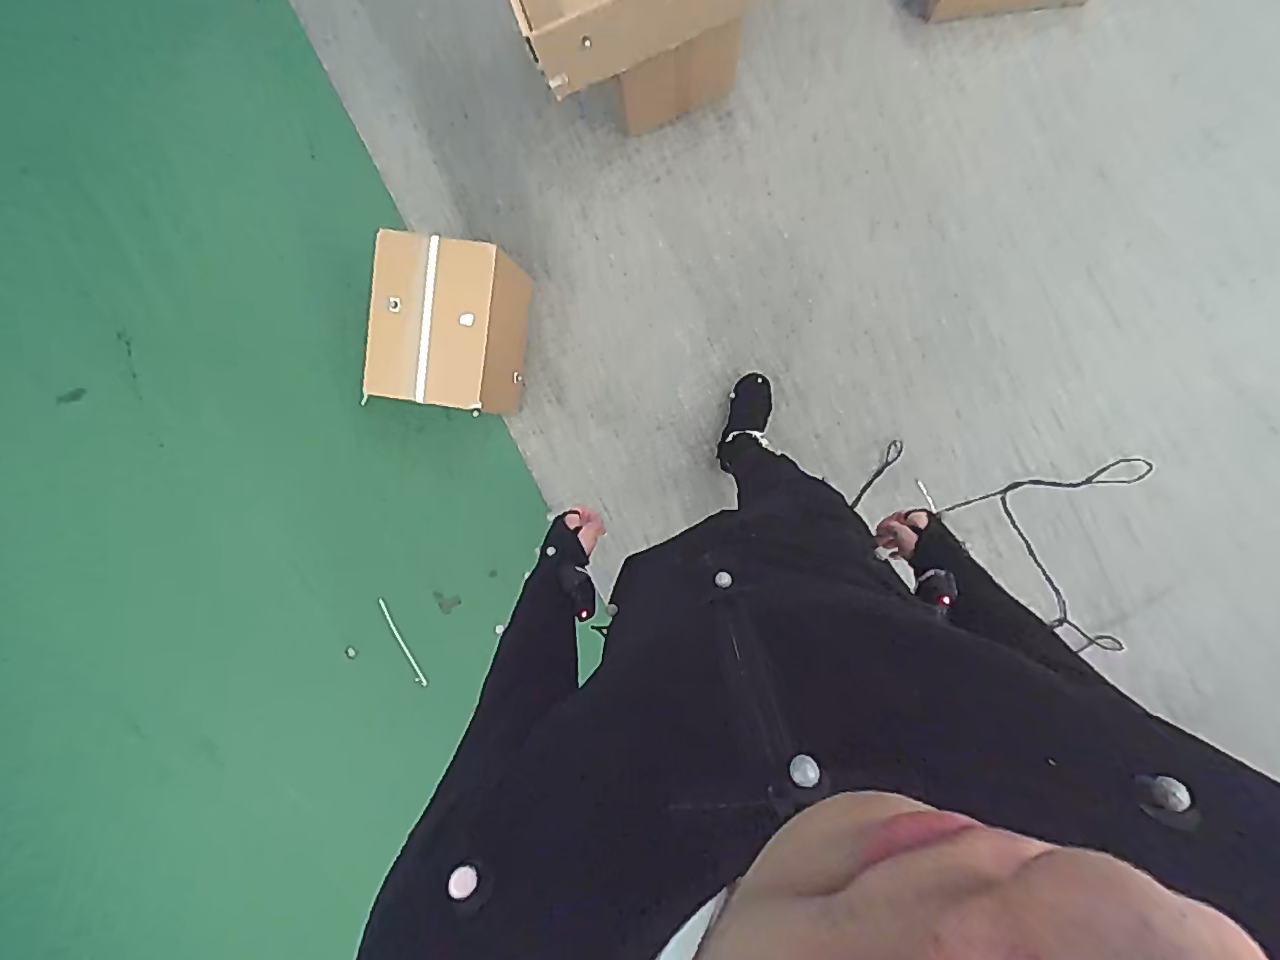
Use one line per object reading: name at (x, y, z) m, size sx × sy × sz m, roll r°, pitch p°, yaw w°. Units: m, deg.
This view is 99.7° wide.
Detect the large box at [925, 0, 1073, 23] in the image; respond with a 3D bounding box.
large box at (0.930, -1.359, 1.255) m, size 0.408 × 0.320 × 0.320 m, roll -4°, pitch 95°, yaw 7°
